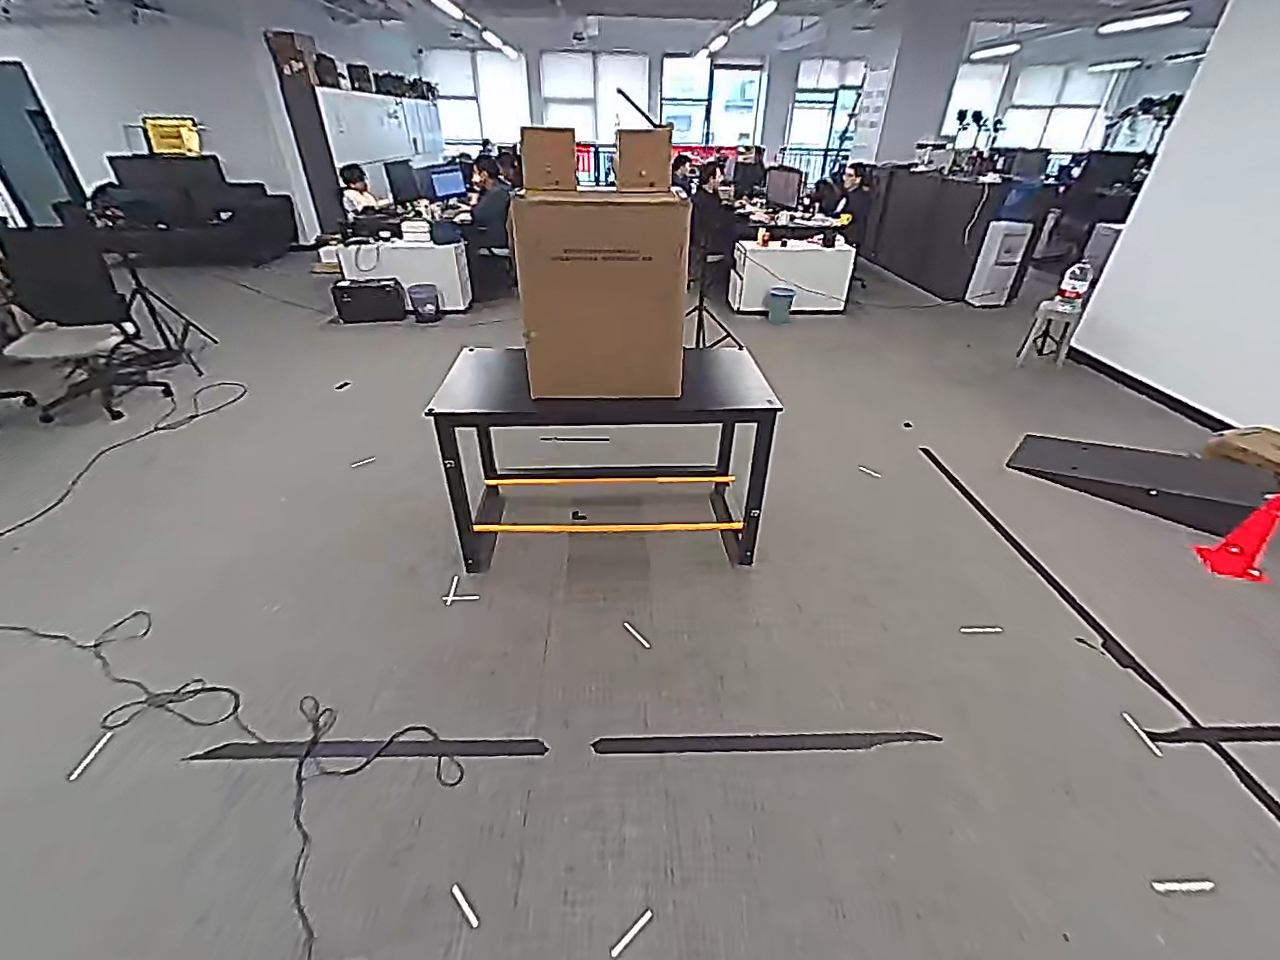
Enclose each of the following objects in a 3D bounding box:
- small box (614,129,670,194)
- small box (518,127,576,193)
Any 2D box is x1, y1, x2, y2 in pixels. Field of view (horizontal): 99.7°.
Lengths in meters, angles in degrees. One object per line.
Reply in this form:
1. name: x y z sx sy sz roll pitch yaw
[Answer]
1. small box: 0.002 -1.013 1.716 0.168 0.176 0.179 -3 33 -4
2. small box: -0.292 -1.024 1.728 0.168 0.176 0.179 -2 32 -5
